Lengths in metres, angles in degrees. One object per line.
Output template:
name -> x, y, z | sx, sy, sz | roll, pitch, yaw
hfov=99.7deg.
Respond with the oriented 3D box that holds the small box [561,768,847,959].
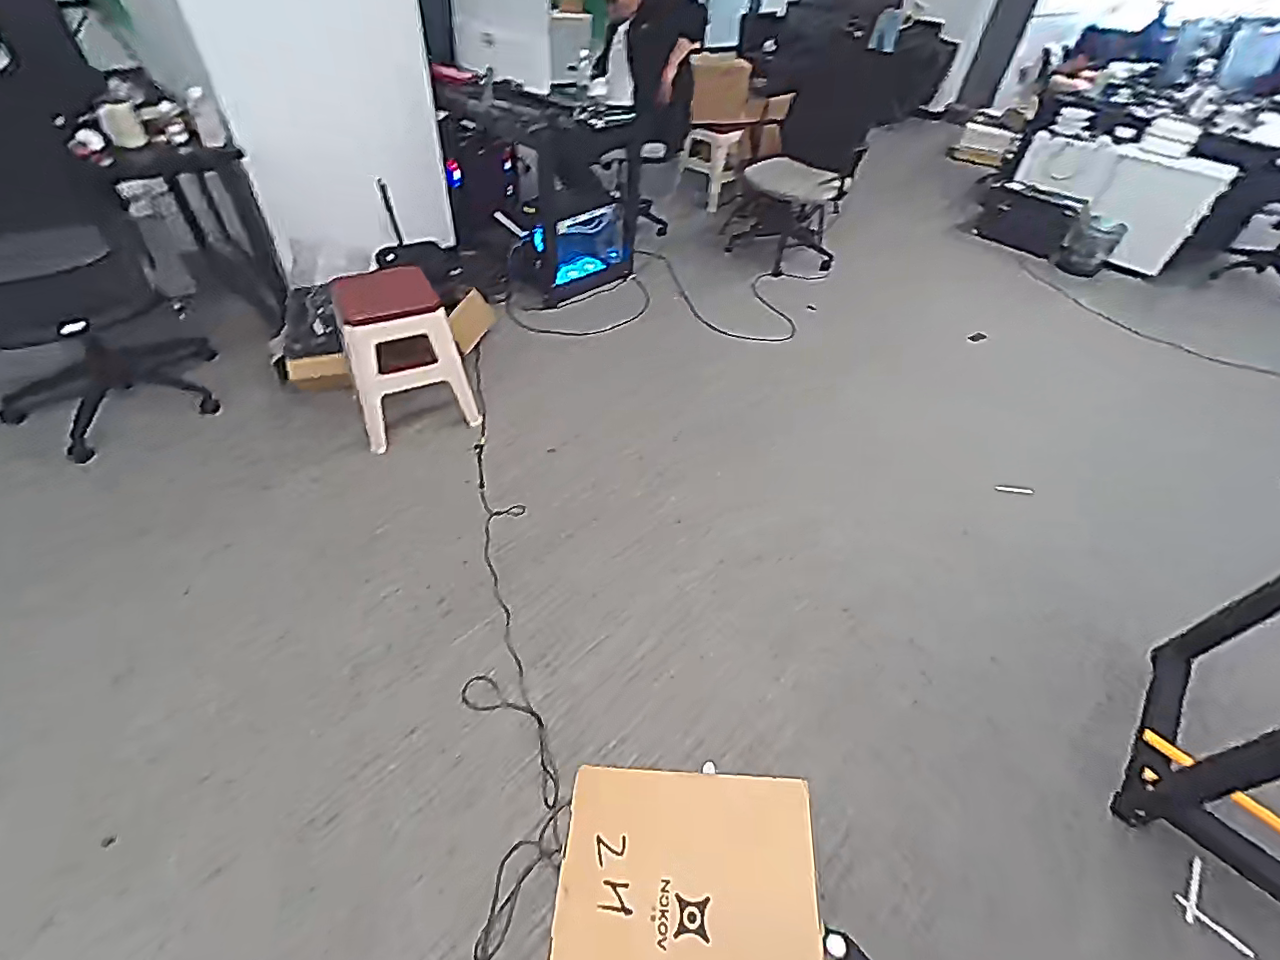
small box -> 0.056, 0.326, 0.397 | 0.179, 0.176, 0.168 | -5, 49, 16
